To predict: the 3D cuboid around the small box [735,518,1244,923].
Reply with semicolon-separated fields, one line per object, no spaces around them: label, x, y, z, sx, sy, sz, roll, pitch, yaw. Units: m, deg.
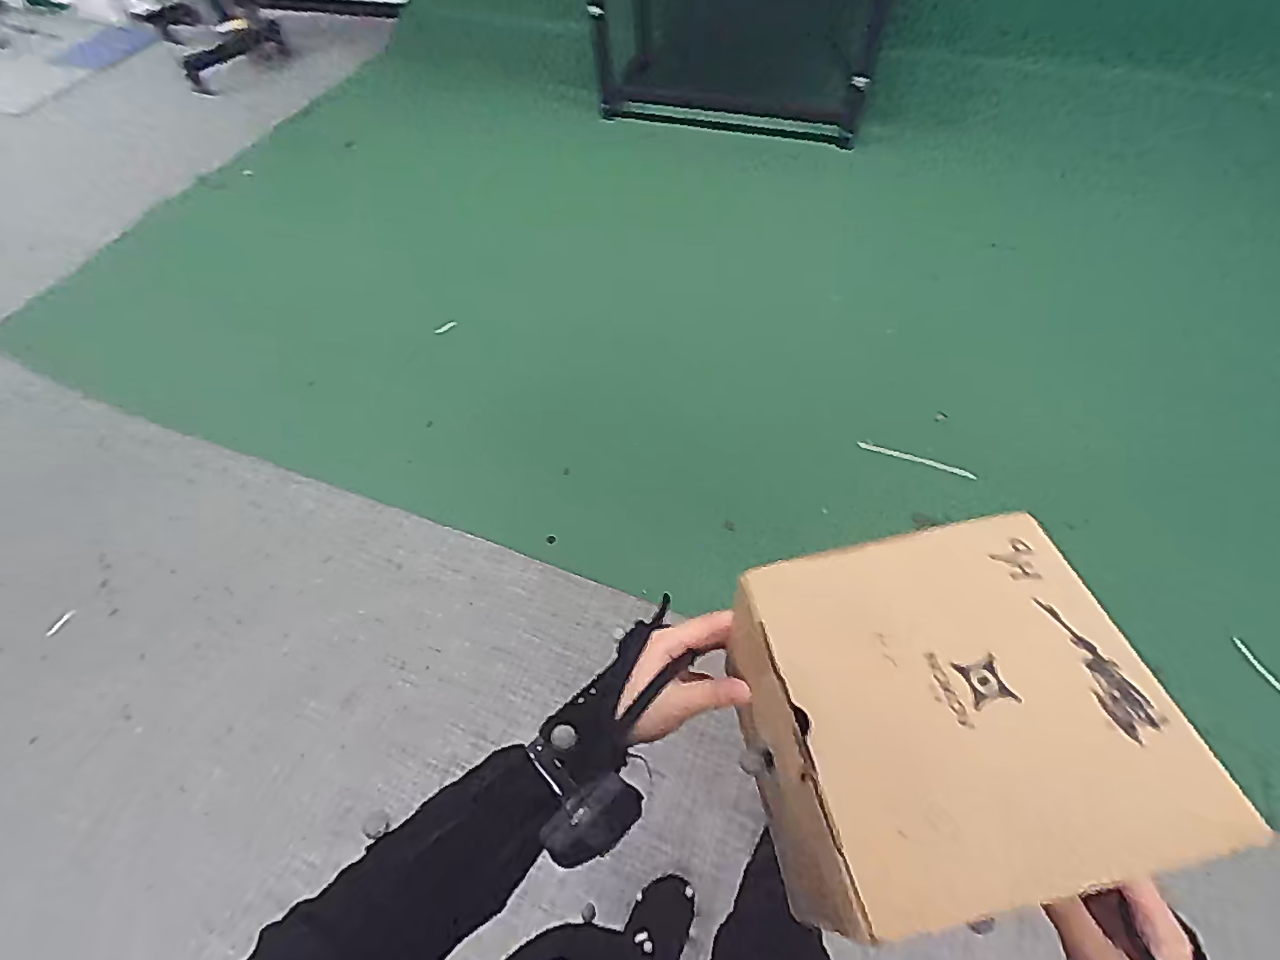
small box;0.163;0.150;0.333;0.179;0.176;0.168;-11;53;-3
